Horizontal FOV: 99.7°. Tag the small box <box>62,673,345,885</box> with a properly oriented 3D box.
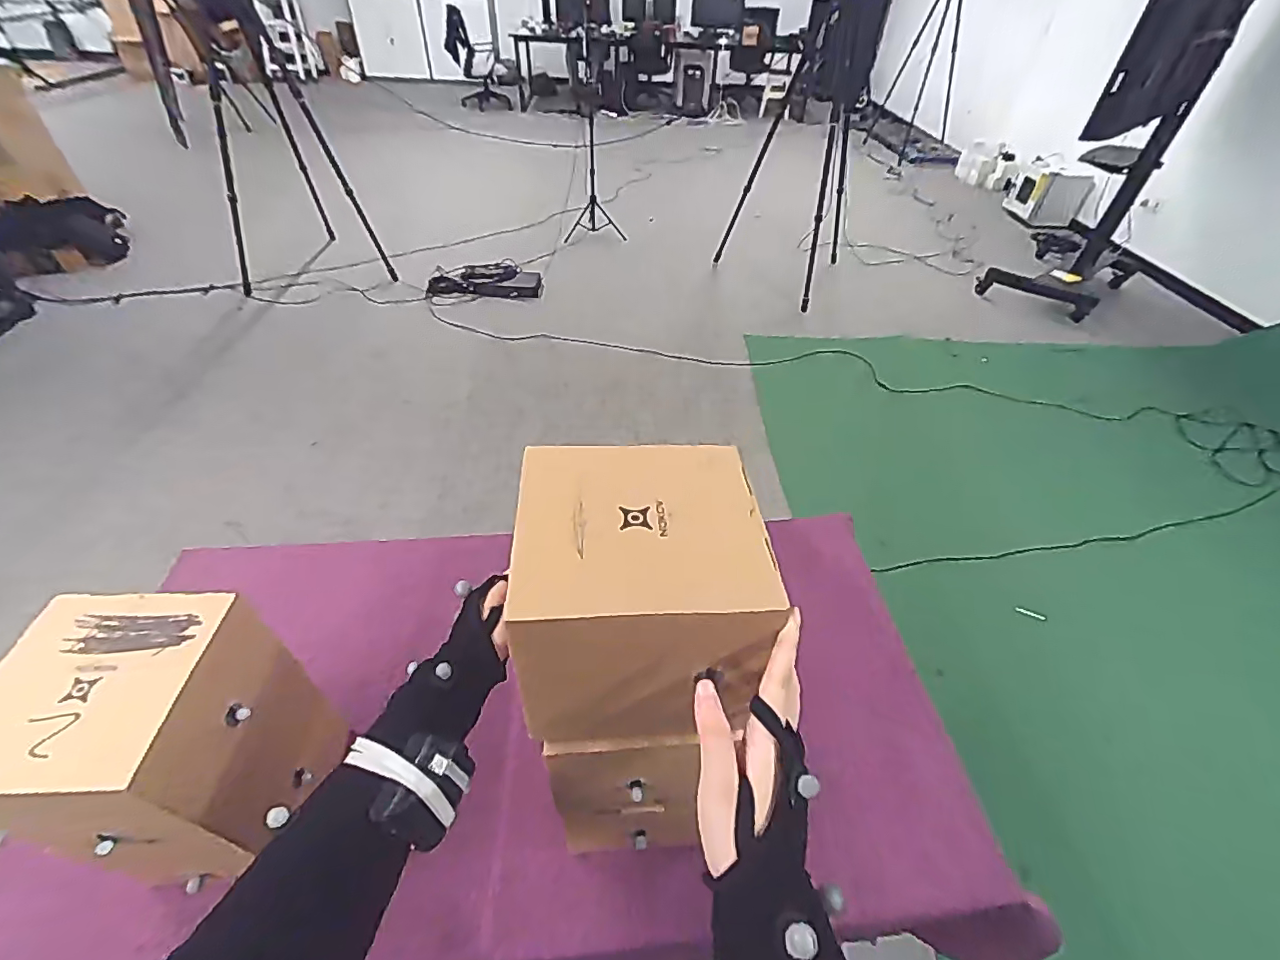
[{"bbox_3d":[-0.470,0.345,0.627,0.168,0.176,0.179,0,46,-3],"label":"small box"}]

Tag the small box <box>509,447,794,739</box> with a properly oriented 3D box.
[{"bbox_3d":[0.000,0.091,0.435,0.179,0.176,0.168,0,42,-5],"label":"small box"}]

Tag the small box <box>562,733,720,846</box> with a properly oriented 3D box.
[{"bbox_3d":[-0.005,0.333,0.665,0.168,0.176,0.179,-1,45,-5],"label":"small box"}]
